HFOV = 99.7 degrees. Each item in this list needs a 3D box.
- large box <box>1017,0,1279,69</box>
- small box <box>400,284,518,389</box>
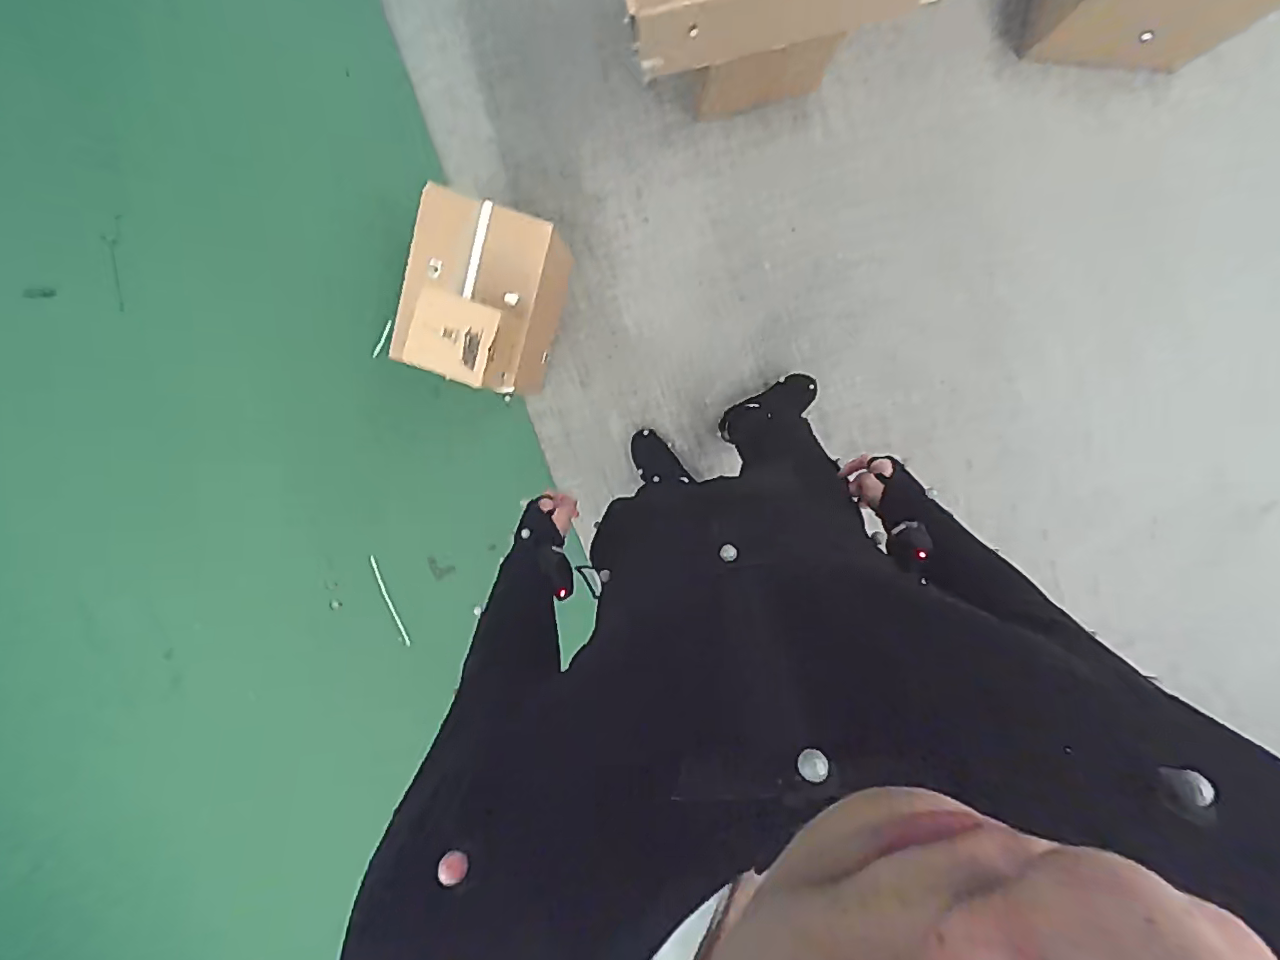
[{"bbox_3d":[1.174,-1.184,1.218,0.408,0.320,0.320,5,100,3],"label":"large box"},{"bbox_3d":[-0.385,-0.306,1.181,0.179,0.176,0.168,20,99,-1],"label":"small box"}]
